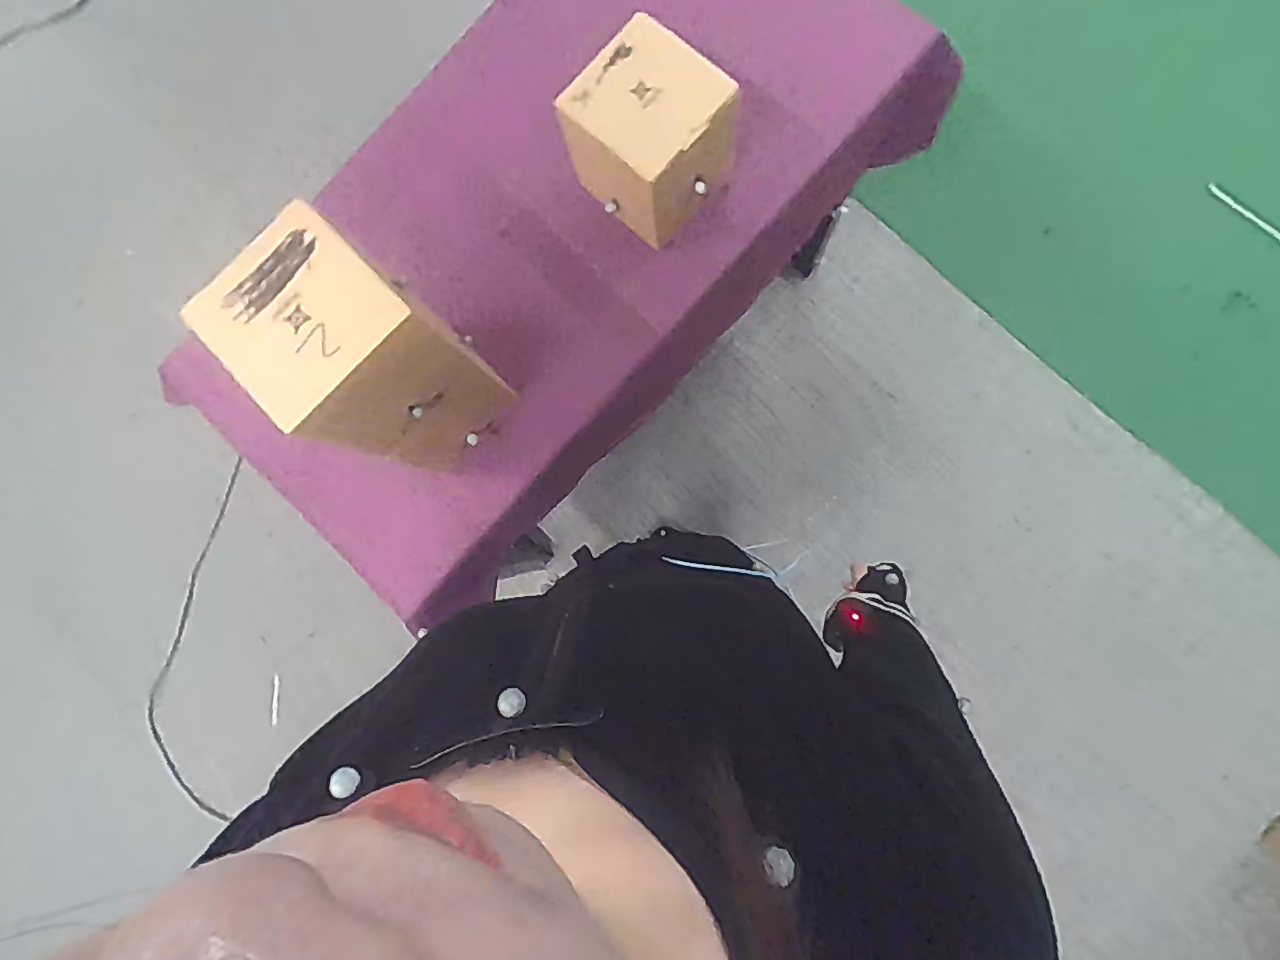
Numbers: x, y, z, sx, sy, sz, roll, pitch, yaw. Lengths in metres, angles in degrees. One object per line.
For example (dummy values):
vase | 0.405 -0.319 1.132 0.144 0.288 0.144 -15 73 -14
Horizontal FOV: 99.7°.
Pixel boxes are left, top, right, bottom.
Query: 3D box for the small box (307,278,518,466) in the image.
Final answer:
small box | -0.304 -0.136 0.759 0.168 0.176 0.179 -45 83 0

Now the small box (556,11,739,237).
small box | 0.016 -0.476 0.759 0.179 0.176 0.168 44 90 7
